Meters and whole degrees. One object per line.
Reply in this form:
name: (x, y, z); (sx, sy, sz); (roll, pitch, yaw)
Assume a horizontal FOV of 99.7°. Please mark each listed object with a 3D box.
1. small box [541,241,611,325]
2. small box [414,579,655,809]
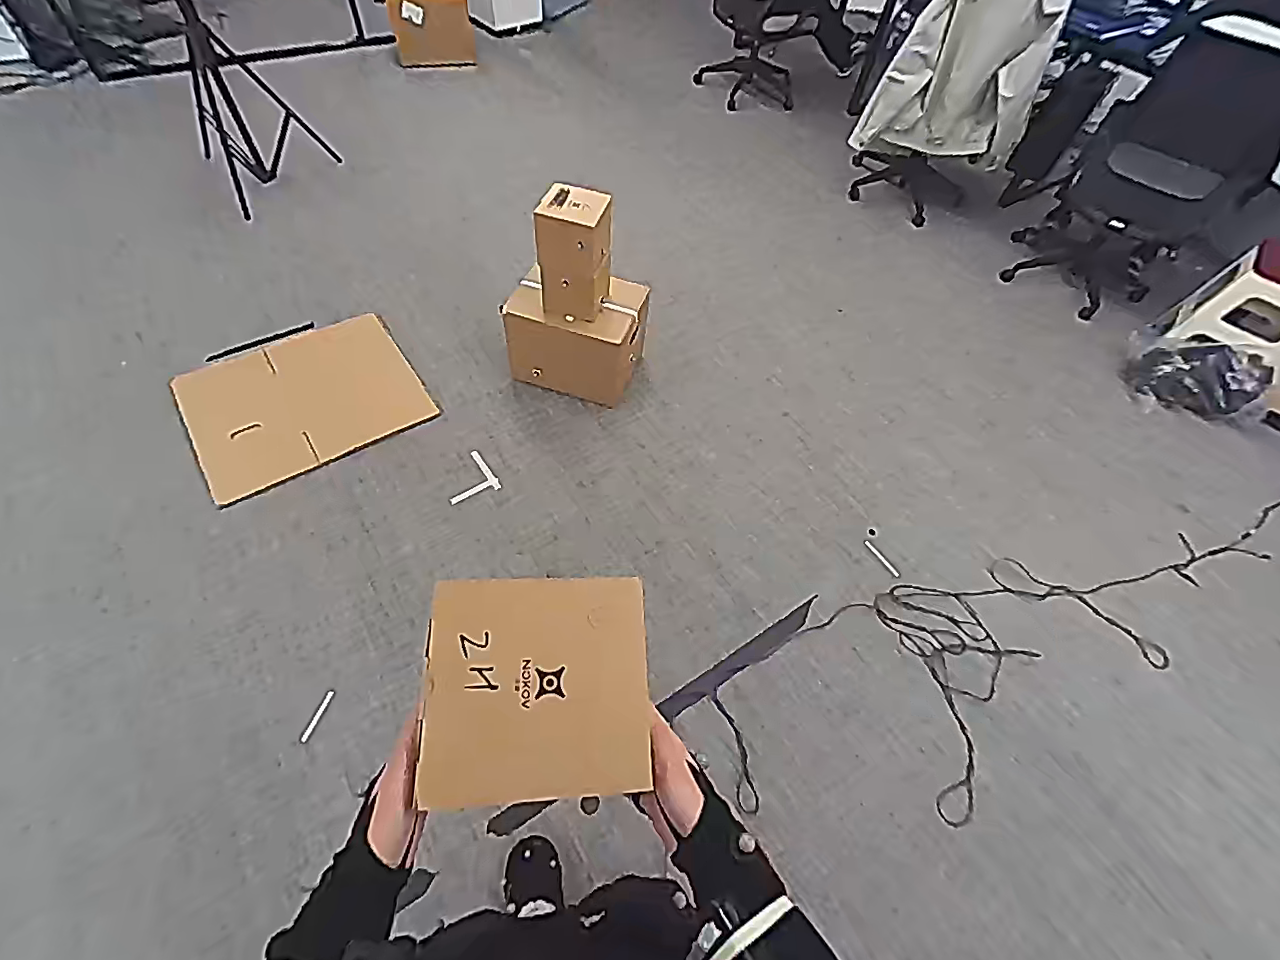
small box: (-0.199, -0.617, 1.707); (0.179, 0.176, 0.168); (16, 57, 4)
small box: (-0.091, 0.188, 0.496); (0.179, 0.176, 0.168); (1, 67, -10)
